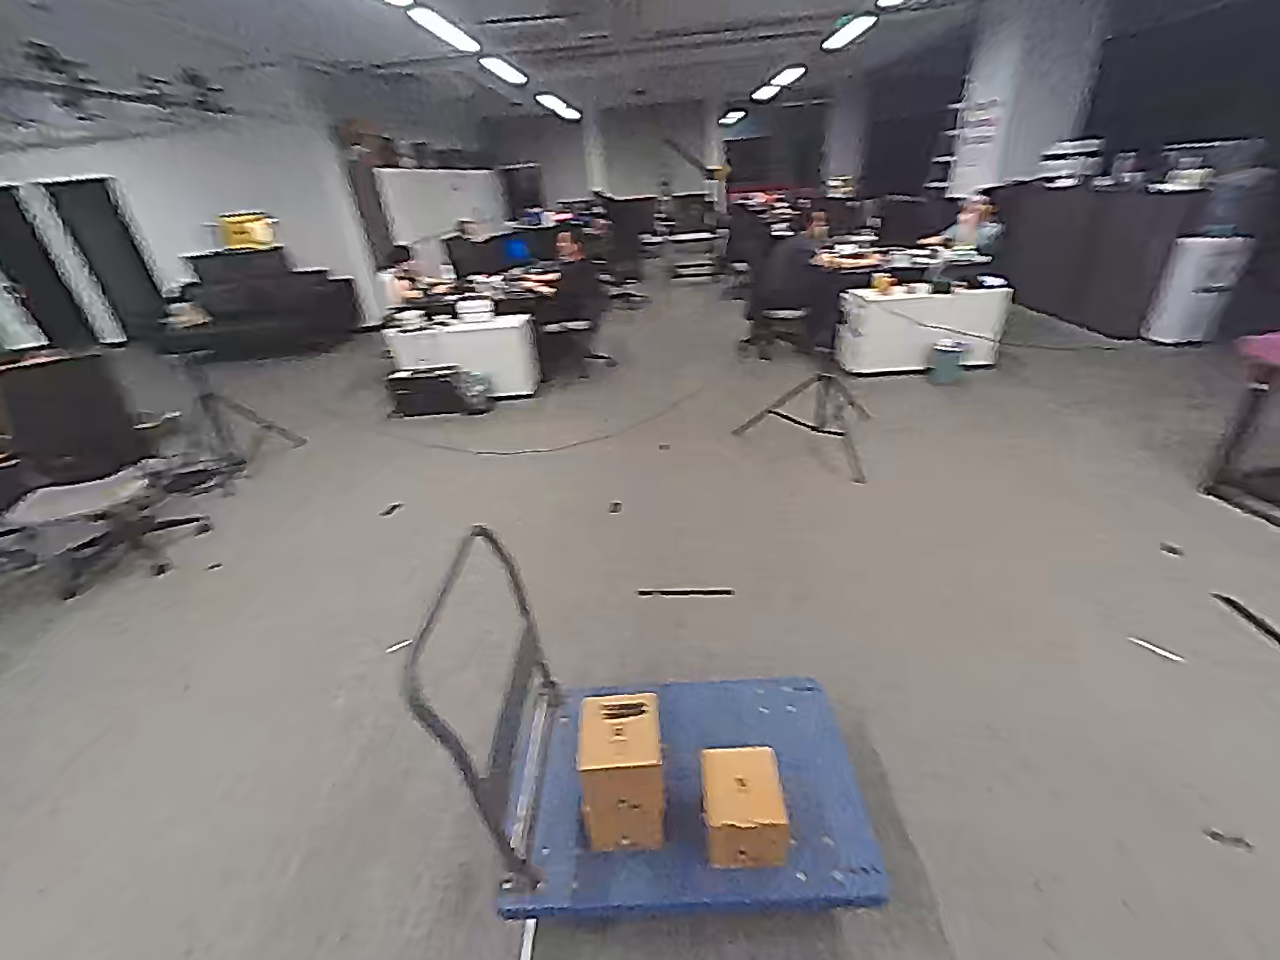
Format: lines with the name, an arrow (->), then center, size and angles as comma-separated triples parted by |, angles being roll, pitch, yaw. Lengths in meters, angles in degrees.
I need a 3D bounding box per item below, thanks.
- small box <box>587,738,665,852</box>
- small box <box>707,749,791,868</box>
small box -> -0.028, 0.746, 1.286 | 0.168, 0.176, 0.179 | -5, 30, 2
small box -> 0.241, 0.748, 1.237 | 0.168, 0.176, 0.179 | -4, 29, 3
